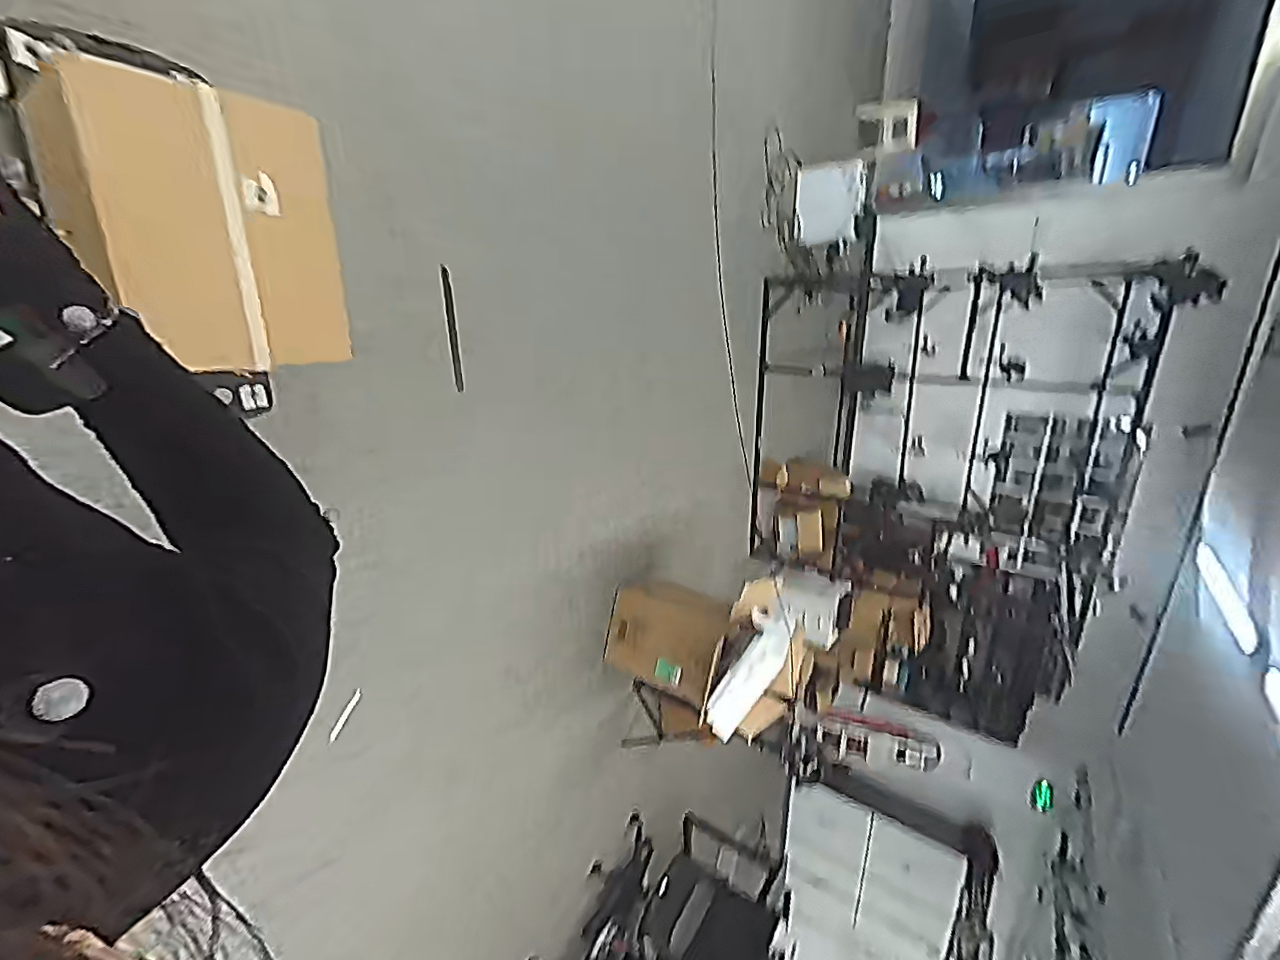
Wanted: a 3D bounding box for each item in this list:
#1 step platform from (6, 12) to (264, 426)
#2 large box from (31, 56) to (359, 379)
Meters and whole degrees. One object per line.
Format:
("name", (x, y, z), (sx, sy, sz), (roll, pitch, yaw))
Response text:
("step platform", (-0.942, -0.447, 1.043), (0.286, 0.204, 0.684), (-14, 110, -53))
("large box", (-0.739, -0.395, 0.926), (0.320, 0.320, 0.408), (-22, 116, -51))
